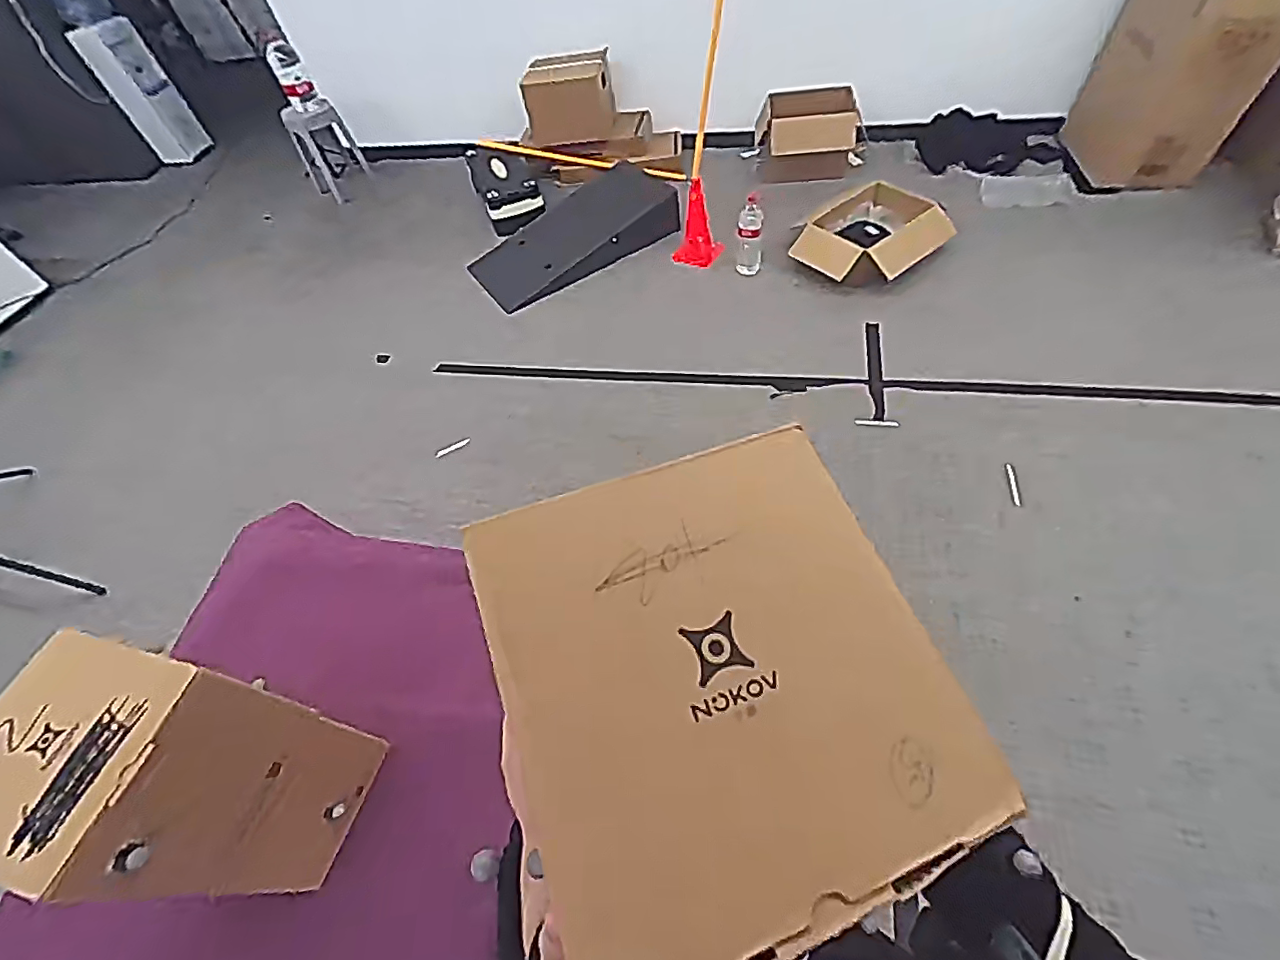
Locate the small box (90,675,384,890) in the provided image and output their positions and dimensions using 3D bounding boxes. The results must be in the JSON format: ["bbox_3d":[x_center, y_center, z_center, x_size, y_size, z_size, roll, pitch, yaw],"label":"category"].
[{"bbox_3d":[-0.448,0.353,0.634,0.179,0.176,0.168,10,57,15],"label":"small box"}]

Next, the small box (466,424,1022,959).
[{"bbox_3d":[0.027,0.104,0.280,0.168,0.176,0.179,-18,64,-13],"label":"small box"}]
